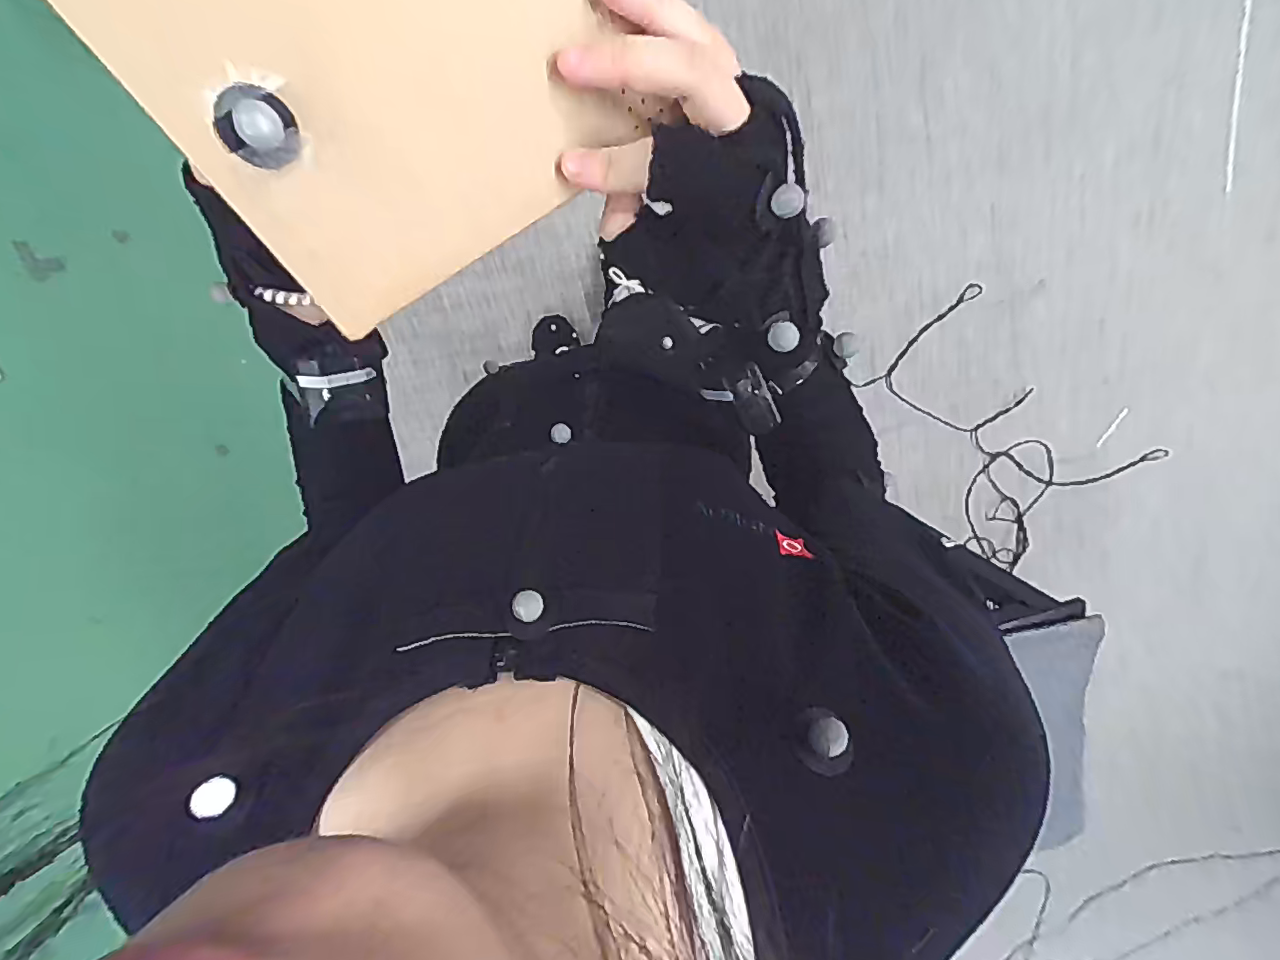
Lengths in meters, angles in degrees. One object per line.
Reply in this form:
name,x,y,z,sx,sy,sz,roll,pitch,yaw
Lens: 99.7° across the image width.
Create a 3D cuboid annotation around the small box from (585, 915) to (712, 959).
small box,0.019,0.739,0.738,0.179,0.176,0.168,-4,107,-6
